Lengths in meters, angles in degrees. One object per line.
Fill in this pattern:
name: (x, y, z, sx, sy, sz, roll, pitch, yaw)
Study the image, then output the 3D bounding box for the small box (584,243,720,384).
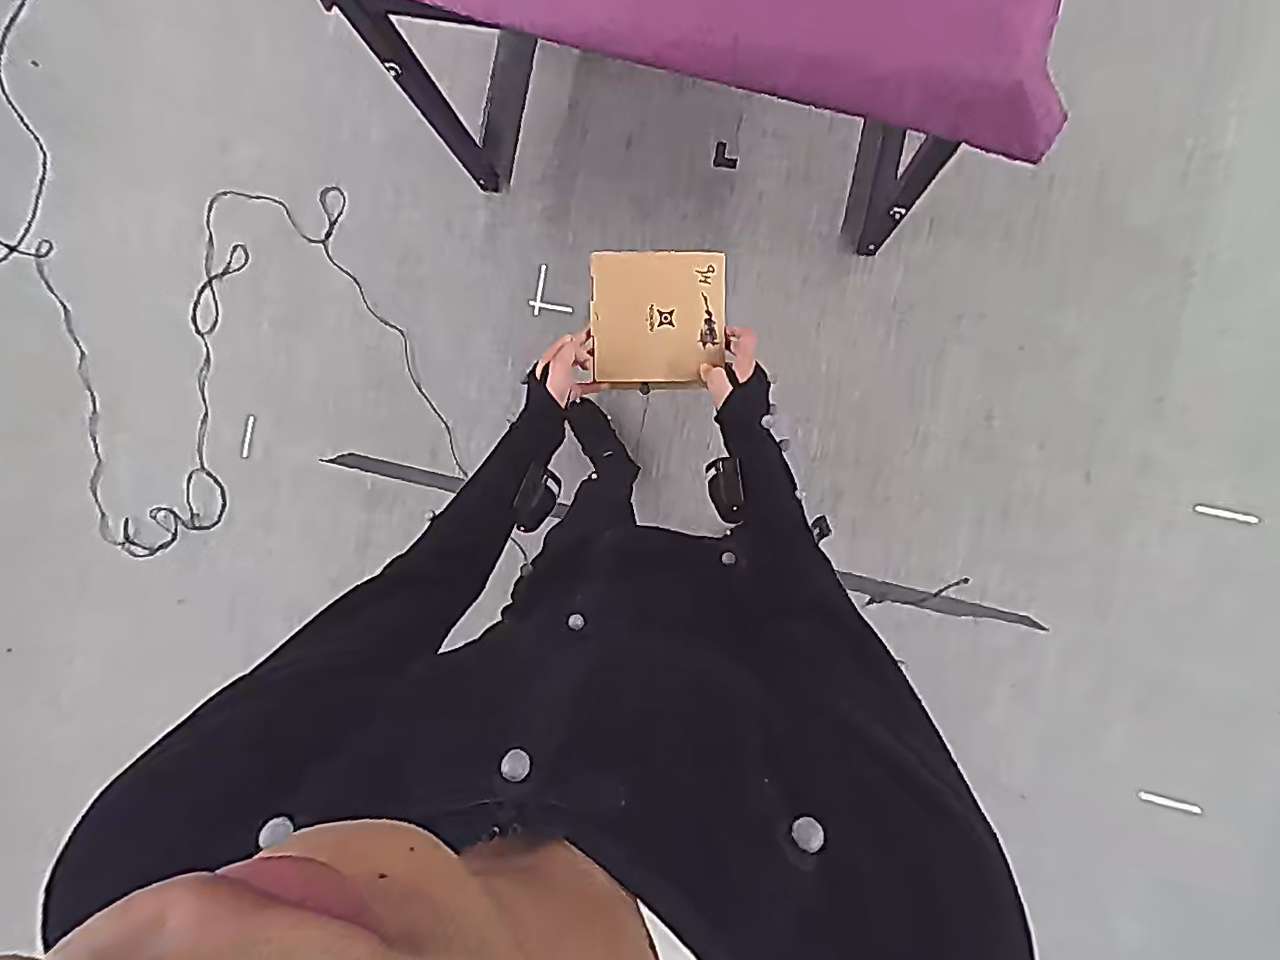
small box: (0.014, -0.228, 0.777, 0.179, 0.176, 0.168, -1, 96, -3)
